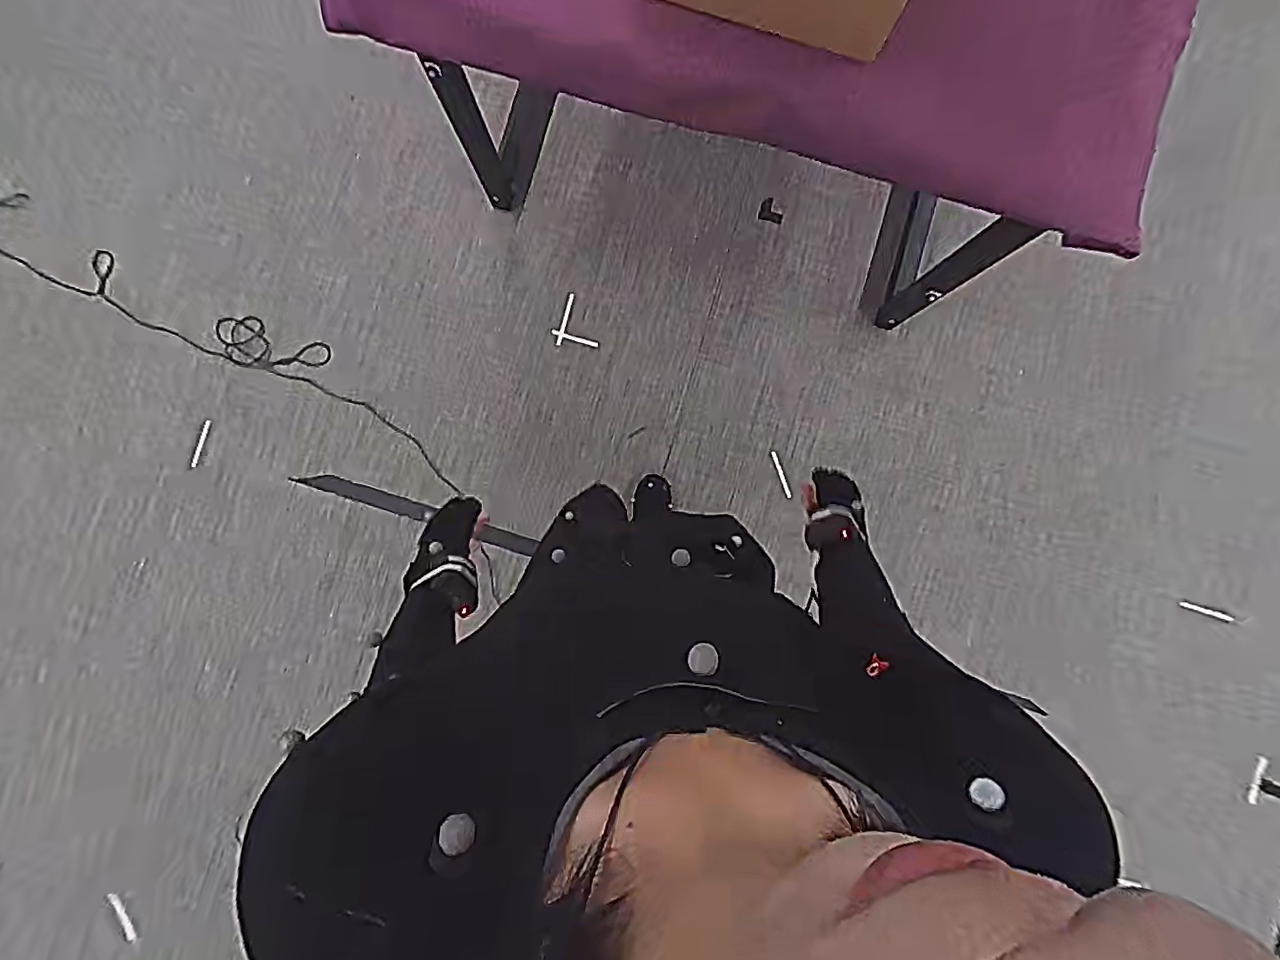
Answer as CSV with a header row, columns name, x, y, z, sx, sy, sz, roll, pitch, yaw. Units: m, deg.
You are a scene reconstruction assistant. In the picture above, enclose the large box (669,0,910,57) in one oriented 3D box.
name,x,y,z,sx,sy,sz,roll,pitch,yaw
large box,0.206,-0.828,0.664,0.408,0.320,0.320,16,90,-1
